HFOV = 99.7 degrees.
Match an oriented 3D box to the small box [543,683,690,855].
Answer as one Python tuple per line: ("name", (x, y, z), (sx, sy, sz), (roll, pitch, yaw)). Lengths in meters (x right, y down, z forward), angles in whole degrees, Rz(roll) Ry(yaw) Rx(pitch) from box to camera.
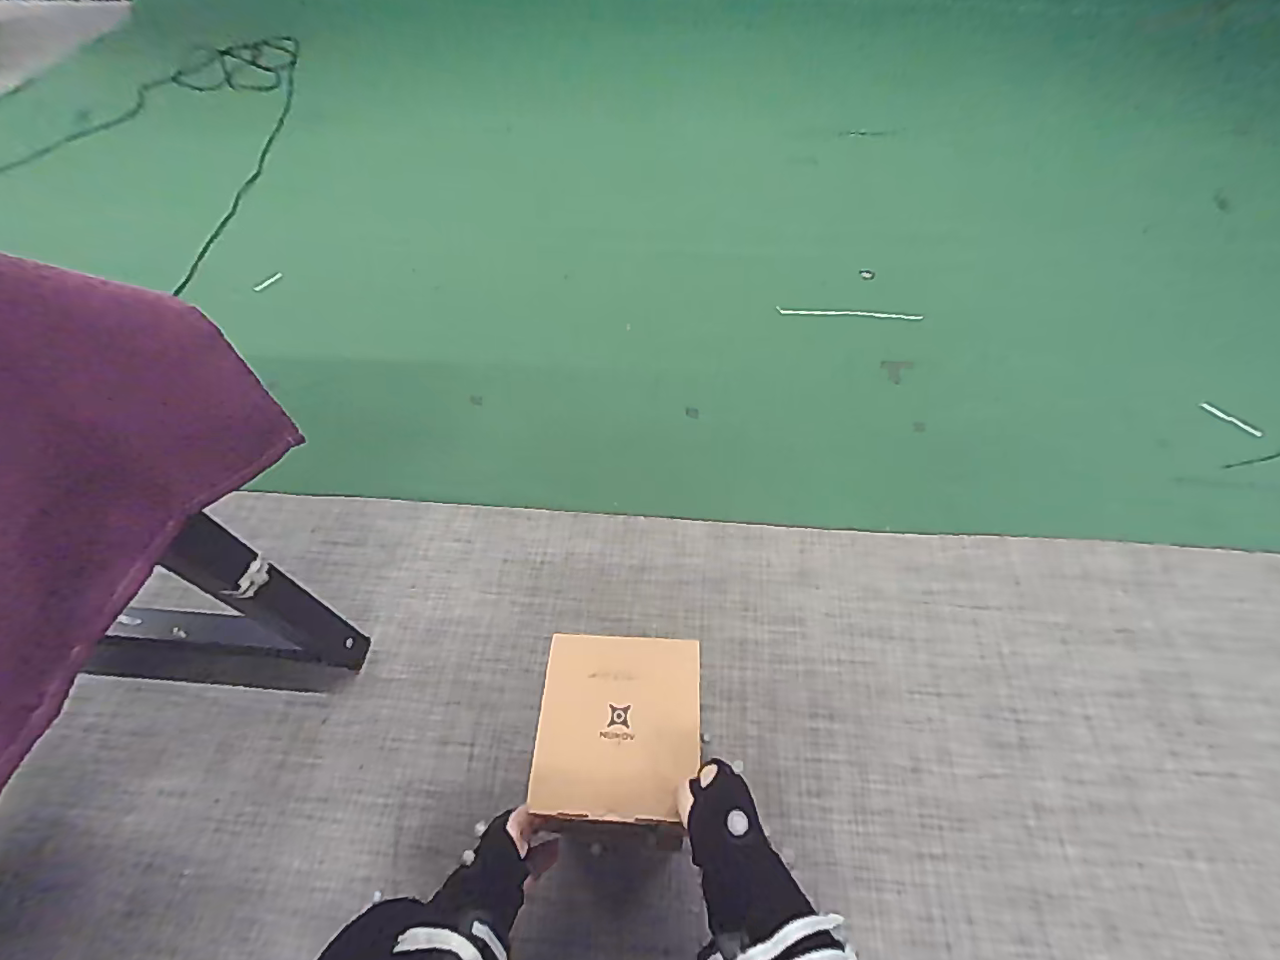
("small box", (-0.023, 0.401, 0.746), (0.168, 0.176, 0.179), (6, 55, 4))
